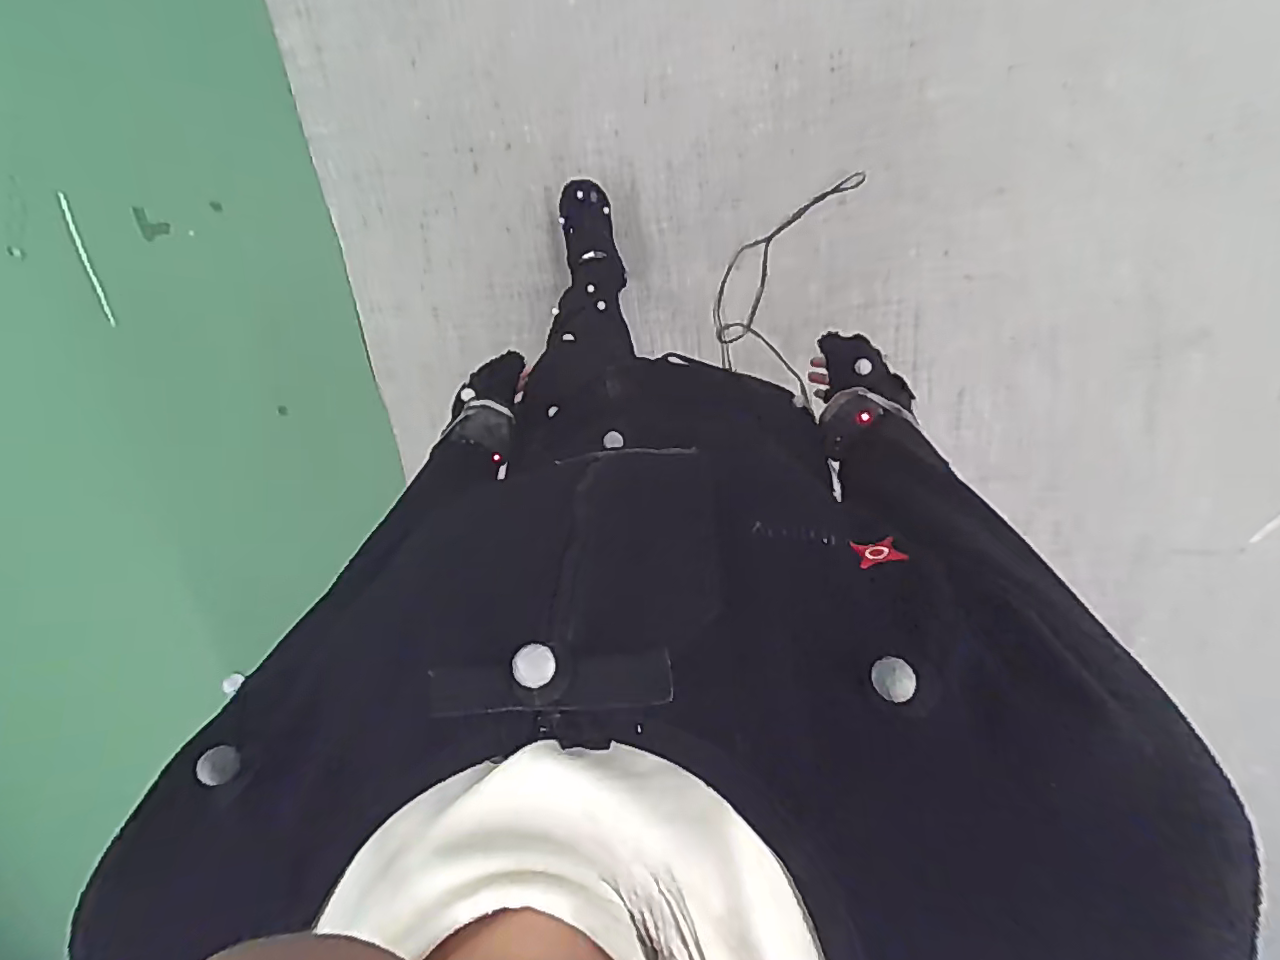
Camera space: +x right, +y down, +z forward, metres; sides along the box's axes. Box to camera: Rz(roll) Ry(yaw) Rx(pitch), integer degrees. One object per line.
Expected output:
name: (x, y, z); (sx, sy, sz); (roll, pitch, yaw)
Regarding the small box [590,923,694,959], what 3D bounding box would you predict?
small box: (0.005, 0.890, 0.911); (0.179, 0.176, 0.168); (-8, 111, 6)
